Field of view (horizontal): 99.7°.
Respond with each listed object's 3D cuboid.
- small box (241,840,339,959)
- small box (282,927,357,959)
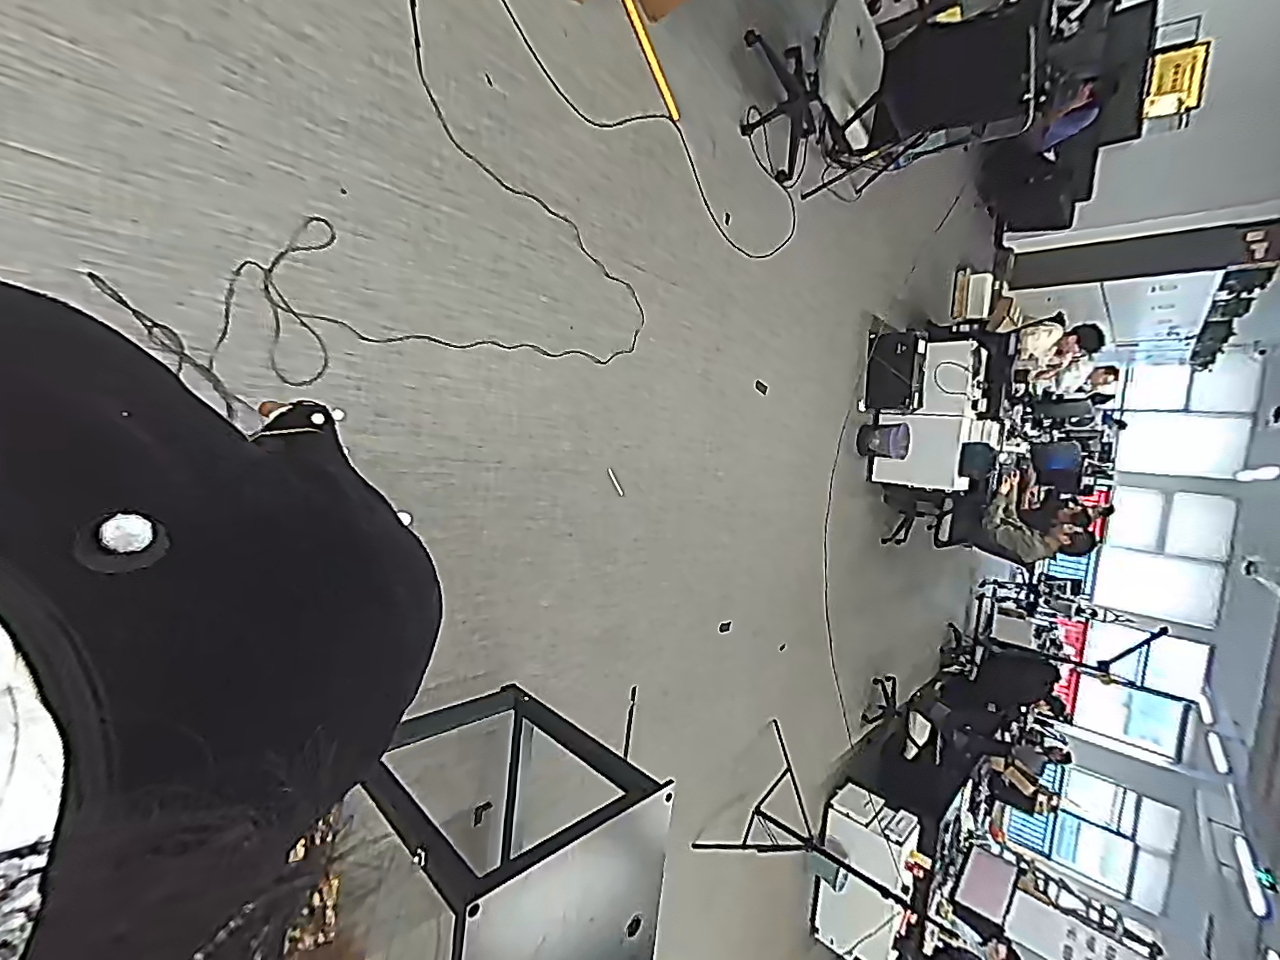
[{"bbox_3d":[-0.899,1.076,1.389,0.179,0.176,0.168,0,97,-46],"label":"small box"},{"bbox_3d":[-0.885,1.369,1.458,0.168,0.176,0.179,32,73,-46],"label":"small box"}]
